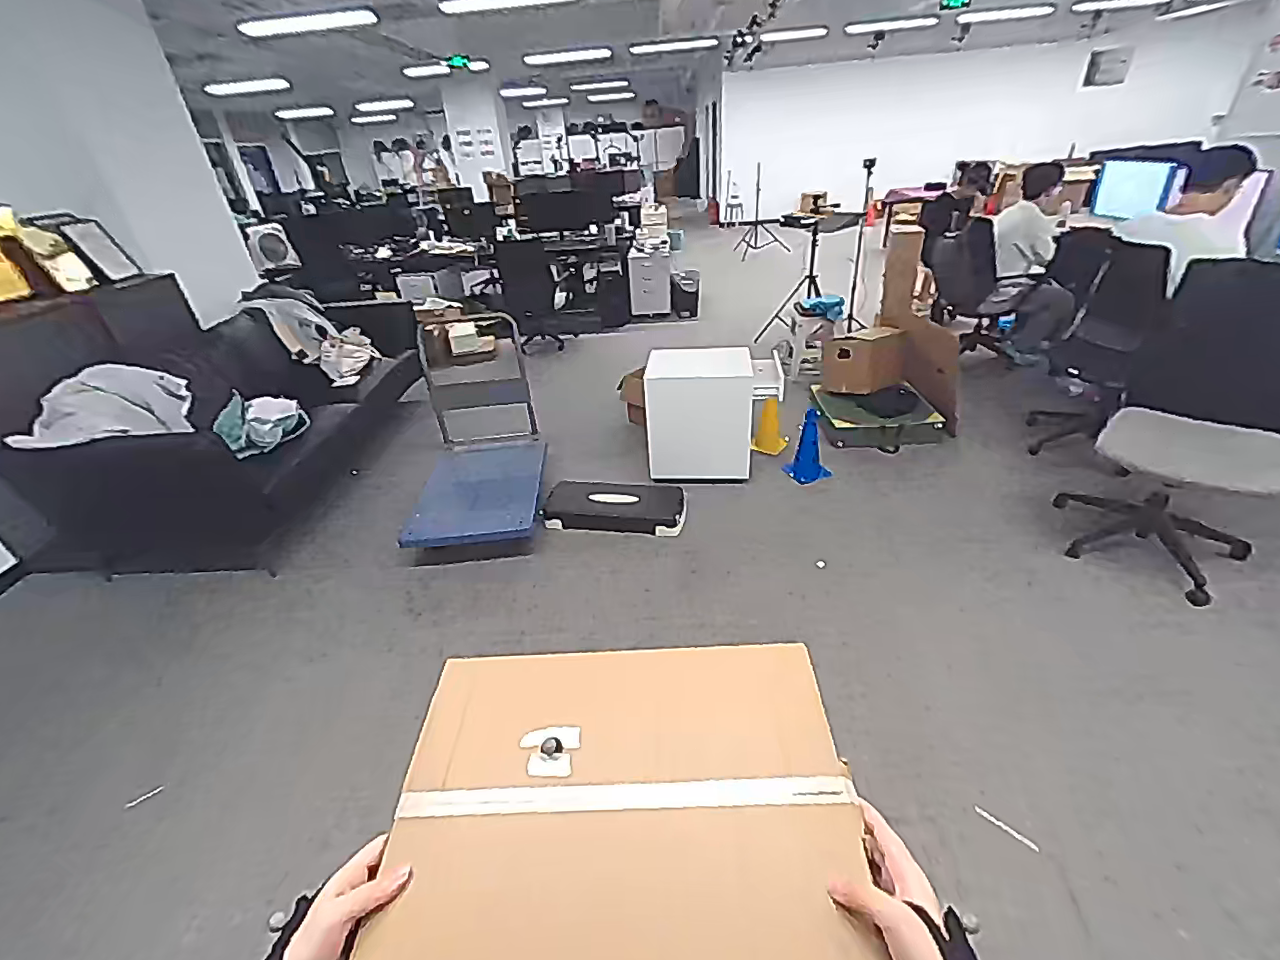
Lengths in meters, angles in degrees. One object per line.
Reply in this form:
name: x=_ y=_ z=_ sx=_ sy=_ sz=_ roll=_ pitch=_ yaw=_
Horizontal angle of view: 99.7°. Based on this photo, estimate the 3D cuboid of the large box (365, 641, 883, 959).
large box: x=-0.002 y=0.409 z=0.589 sx=0.408 sy=0.320 sz=0.320 roll=-5 pitch=37 yaw=4
